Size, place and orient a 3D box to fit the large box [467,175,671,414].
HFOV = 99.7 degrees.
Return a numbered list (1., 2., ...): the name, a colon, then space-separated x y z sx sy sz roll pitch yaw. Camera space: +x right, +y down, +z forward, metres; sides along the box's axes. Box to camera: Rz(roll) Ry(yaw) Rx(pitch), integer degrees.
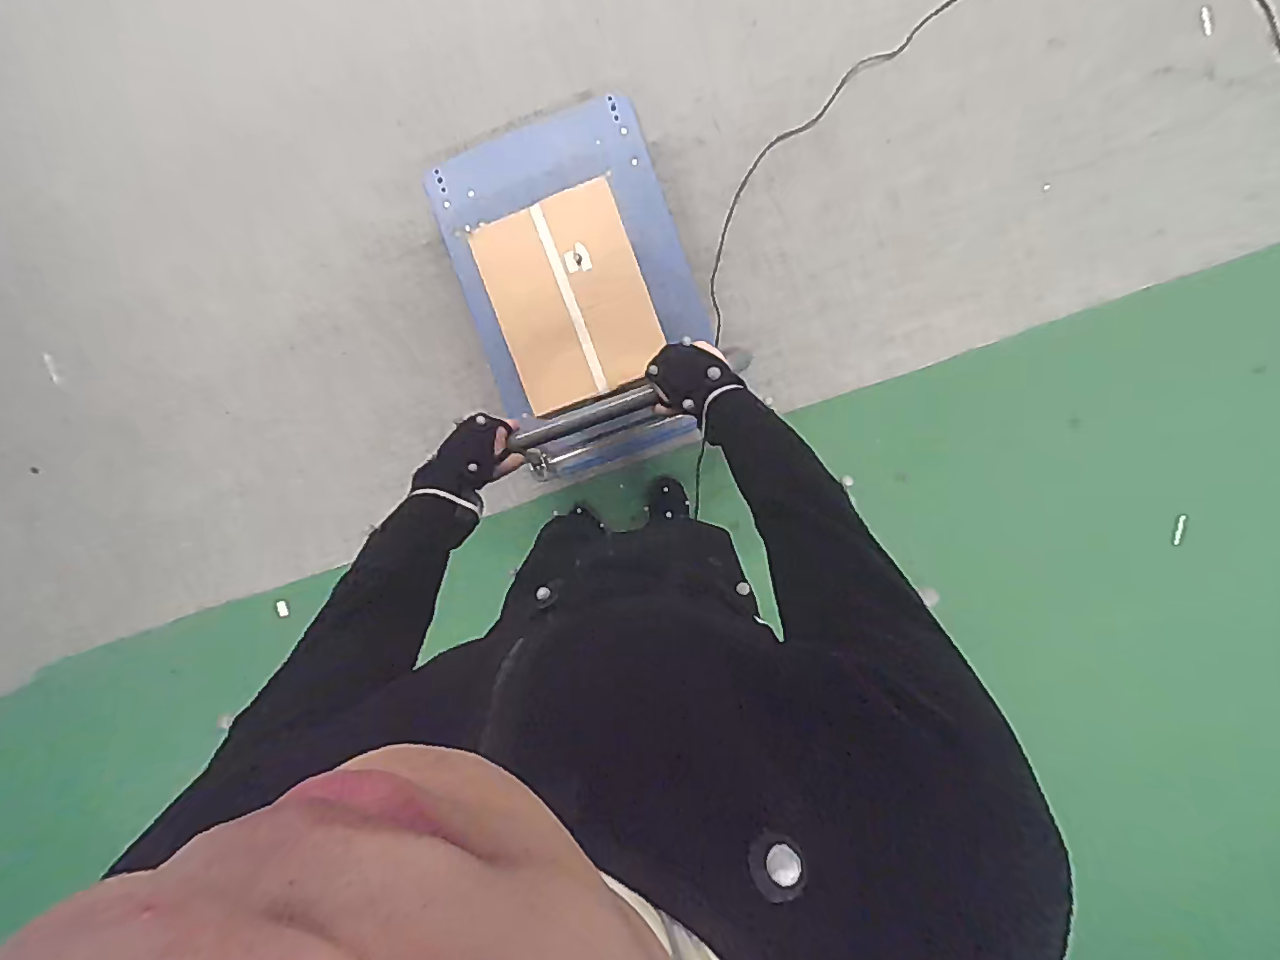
1. large box: -0.139 -0.397 1.270 0.320 0.320 0.408 -20 94 5
